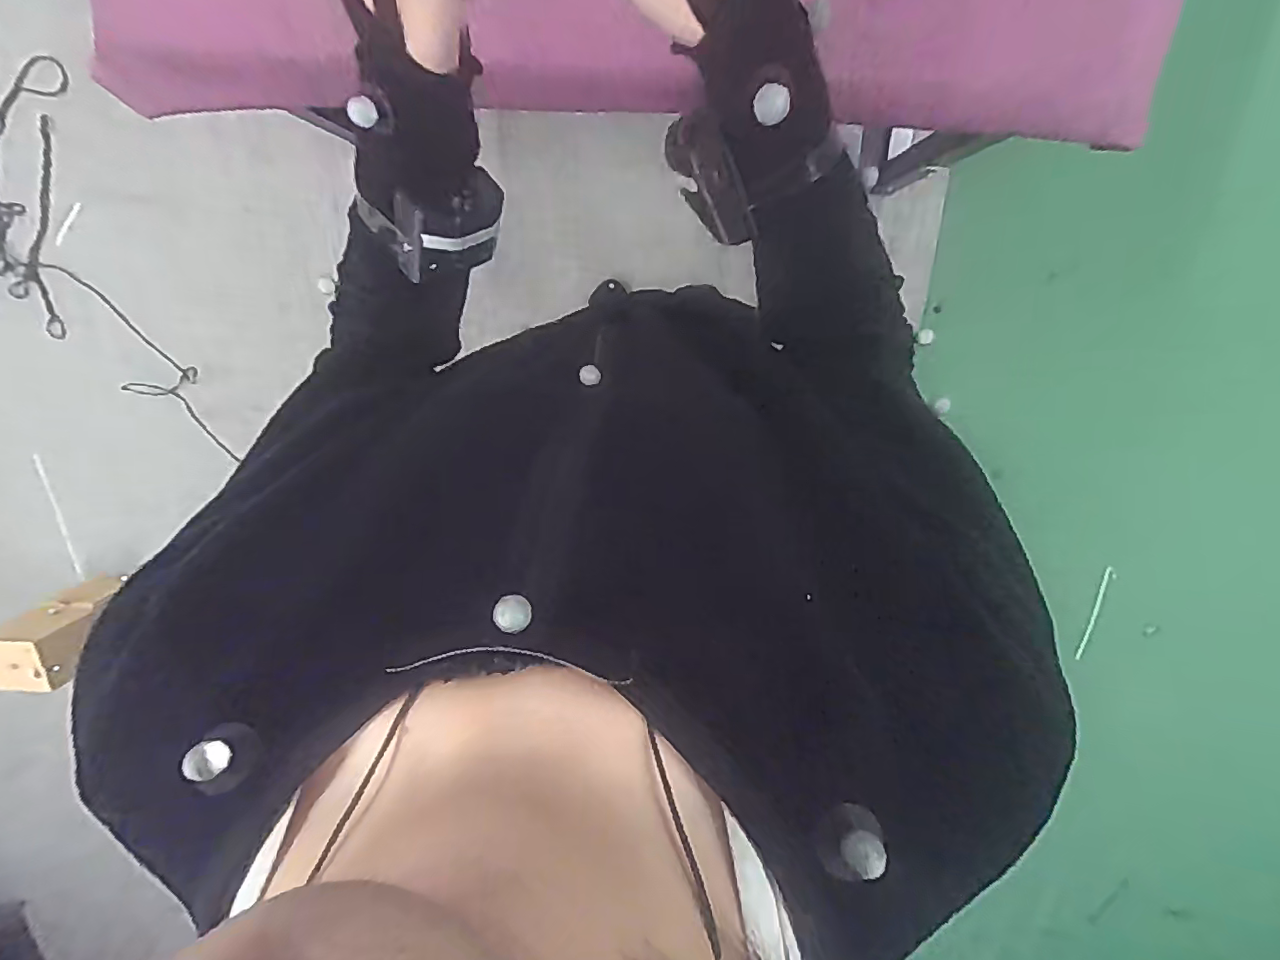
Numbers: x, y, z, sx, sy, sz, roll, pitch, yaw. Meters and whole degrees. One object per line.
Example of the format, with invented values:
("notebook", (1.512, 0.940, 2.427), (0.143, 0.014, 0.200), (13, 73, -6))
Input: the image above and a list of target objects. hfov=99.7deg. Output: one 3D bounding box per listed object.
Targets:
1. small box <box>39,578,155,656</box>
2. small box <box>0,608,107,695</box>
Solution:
("small box", (-1.678, 0.421, 1.682), (0.168, 0.176, 0.179), (2, 109, 3))
("small box", (-1.686, 0.479, 1.529), (0.179, 0.176, 0.168), (3, 109, 3))
